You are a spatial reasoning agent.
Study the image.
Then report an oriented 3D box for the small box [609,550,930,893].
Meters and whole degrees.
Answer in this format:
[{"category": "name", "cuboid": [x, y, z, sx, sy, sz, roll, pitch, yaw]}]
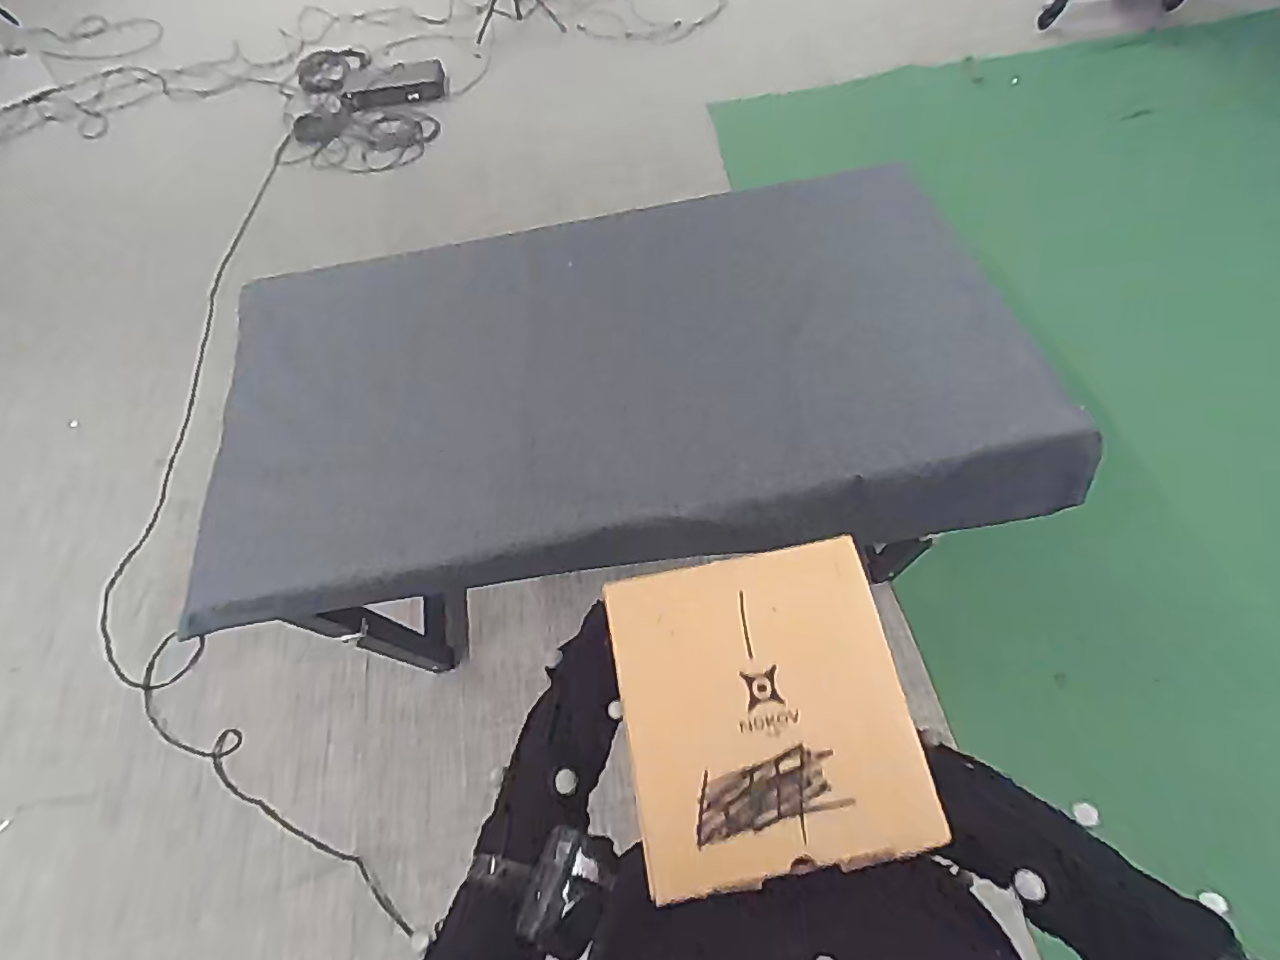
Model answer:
[{"category": "small box", "cuboid": [0.075, 0.165, 0.406, 0.168, 0.176, 0.179, -9, 70, -1]}]
